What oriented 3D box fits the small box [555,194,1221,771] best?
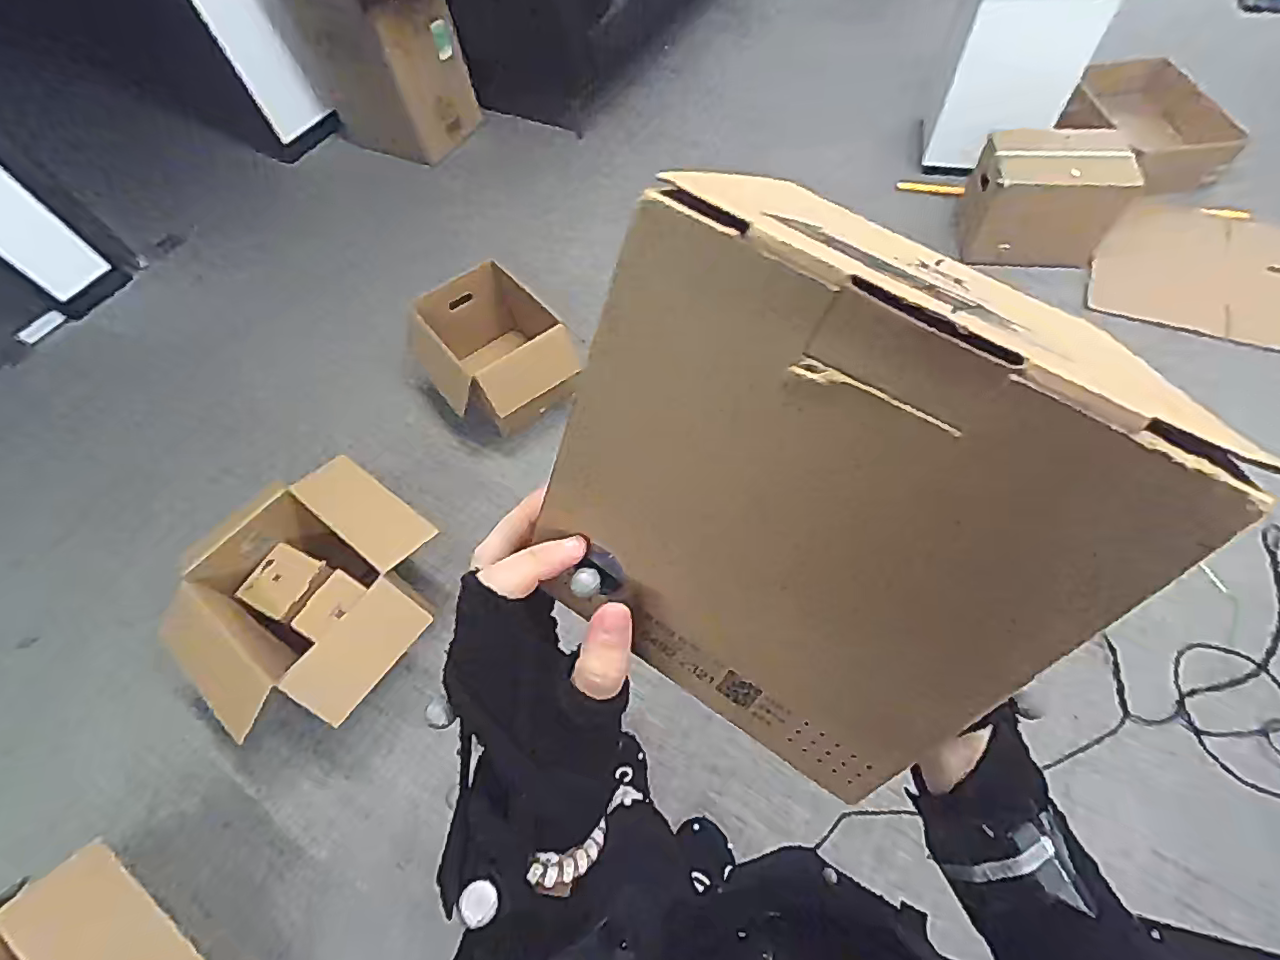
[{"bbox_3d":[0.078,-0.011,0.251,0.168,0.176,0.179,33,37,12],"label":"small box"}]
